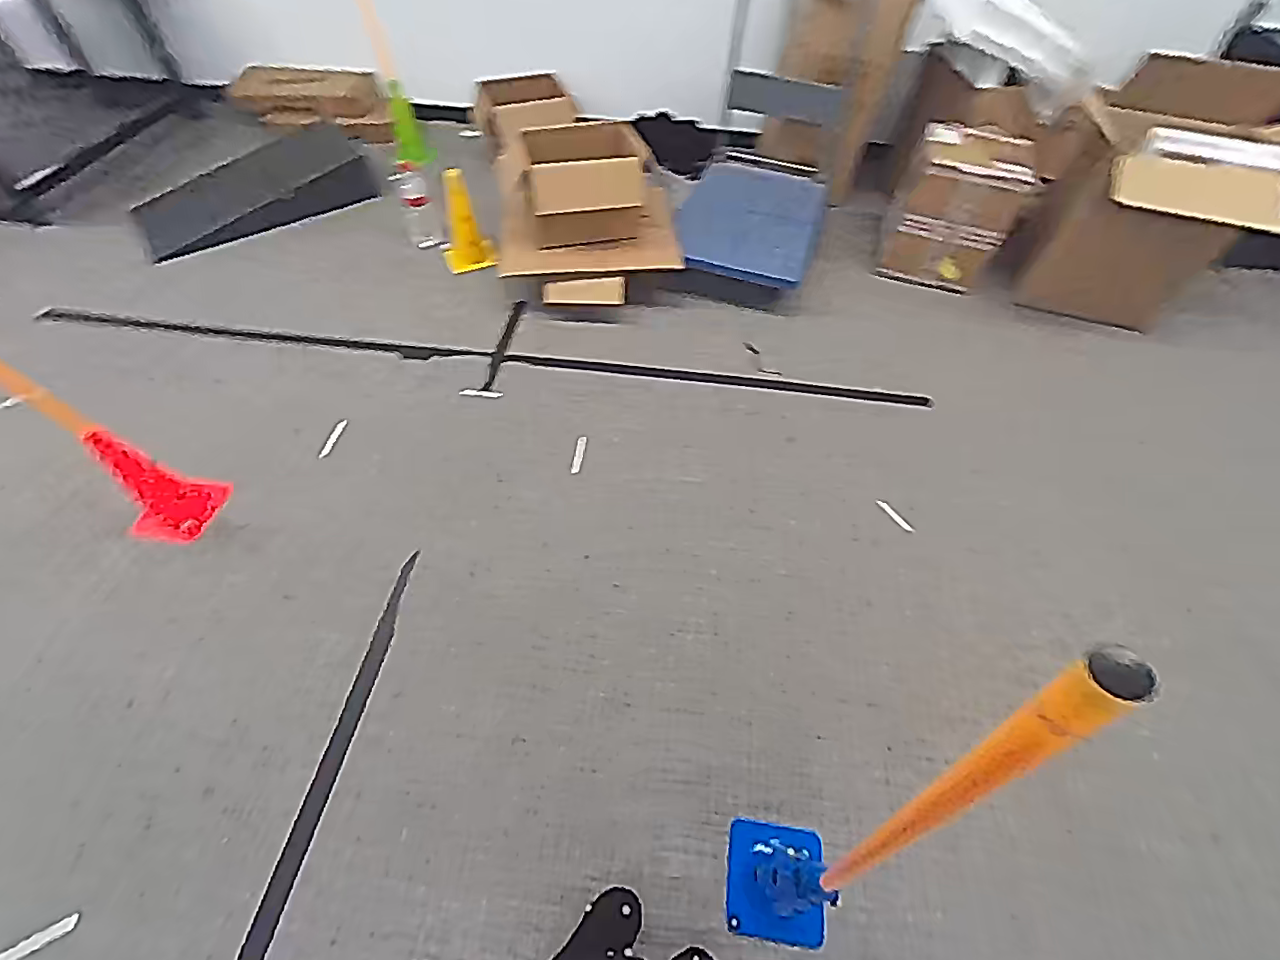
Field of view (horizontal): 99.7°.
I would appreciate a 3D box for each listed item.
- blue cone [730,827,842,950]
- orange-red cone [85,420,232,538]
[{"bbox_3d":[0.289,0.748,0.989,0.193,0.380,0.192,10,55,5],"label":"blue cone"},{"bbox_3d":[-1.323,-0.029,1.442,0.198,0.360,0.199,10,54,4],"label":"orange-red cone"}]
